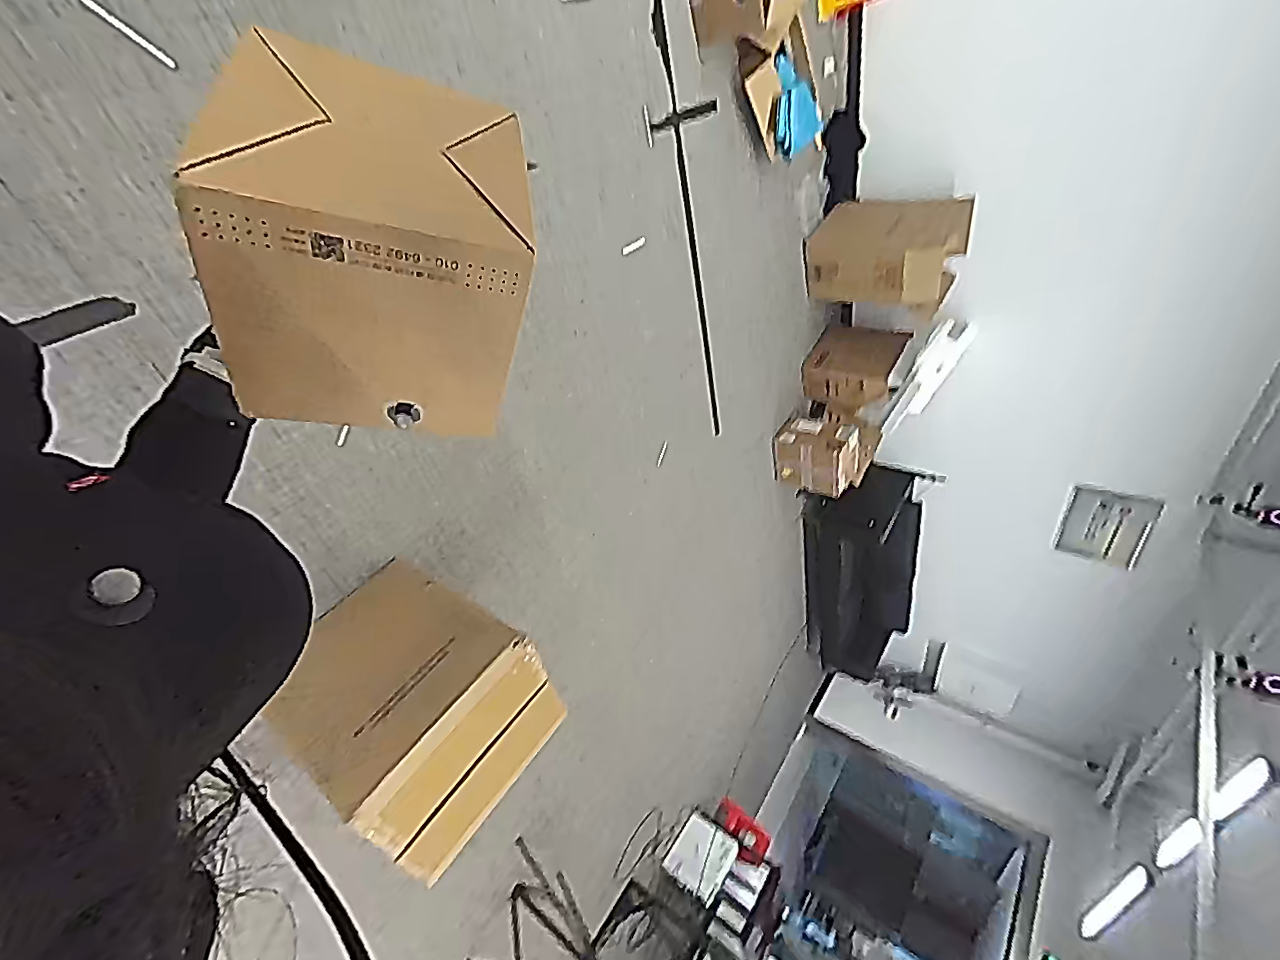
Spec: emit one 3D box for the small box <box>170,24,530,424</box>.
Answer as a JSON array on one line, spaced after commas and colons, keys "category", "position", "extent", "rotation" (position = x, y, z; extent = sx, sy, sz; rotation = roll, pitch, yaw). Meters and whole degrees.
[{"category": "small box", "position": [-0.175, -0.163, 0.367], "extent": [0.168, 0.179, 0.176], "rotation": [3, 146, -23]}]
